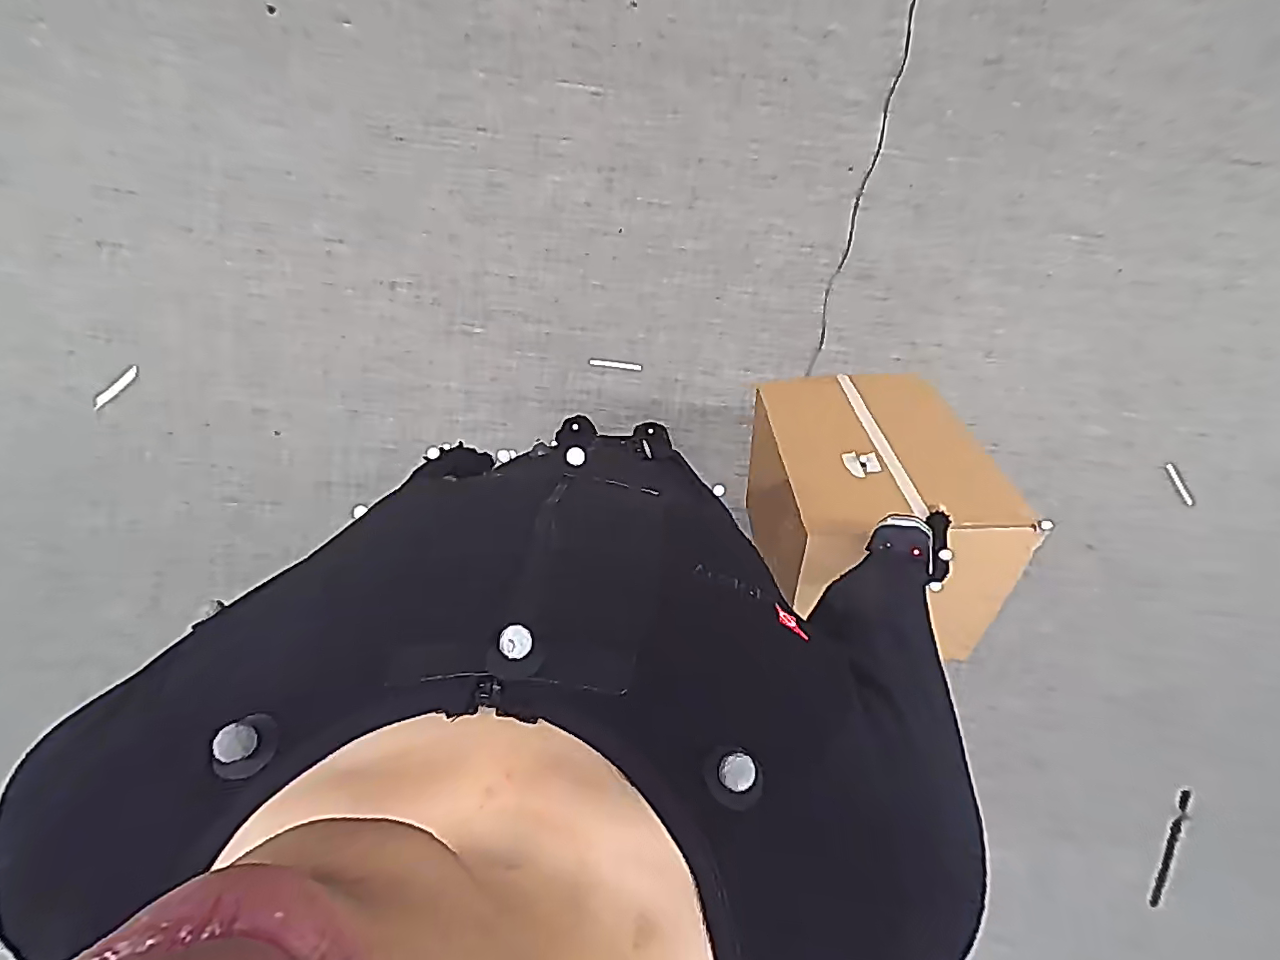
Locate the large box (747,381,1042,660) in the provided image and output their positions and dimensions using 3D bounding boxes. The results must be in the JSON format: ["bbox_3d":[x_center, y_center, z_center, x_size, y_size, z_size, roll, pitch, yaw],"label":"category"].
[{"bbox_3d":[0.389,0.060,0.969,0.320,0.408,0.320,-3,131,2],"label":"large box"}]
